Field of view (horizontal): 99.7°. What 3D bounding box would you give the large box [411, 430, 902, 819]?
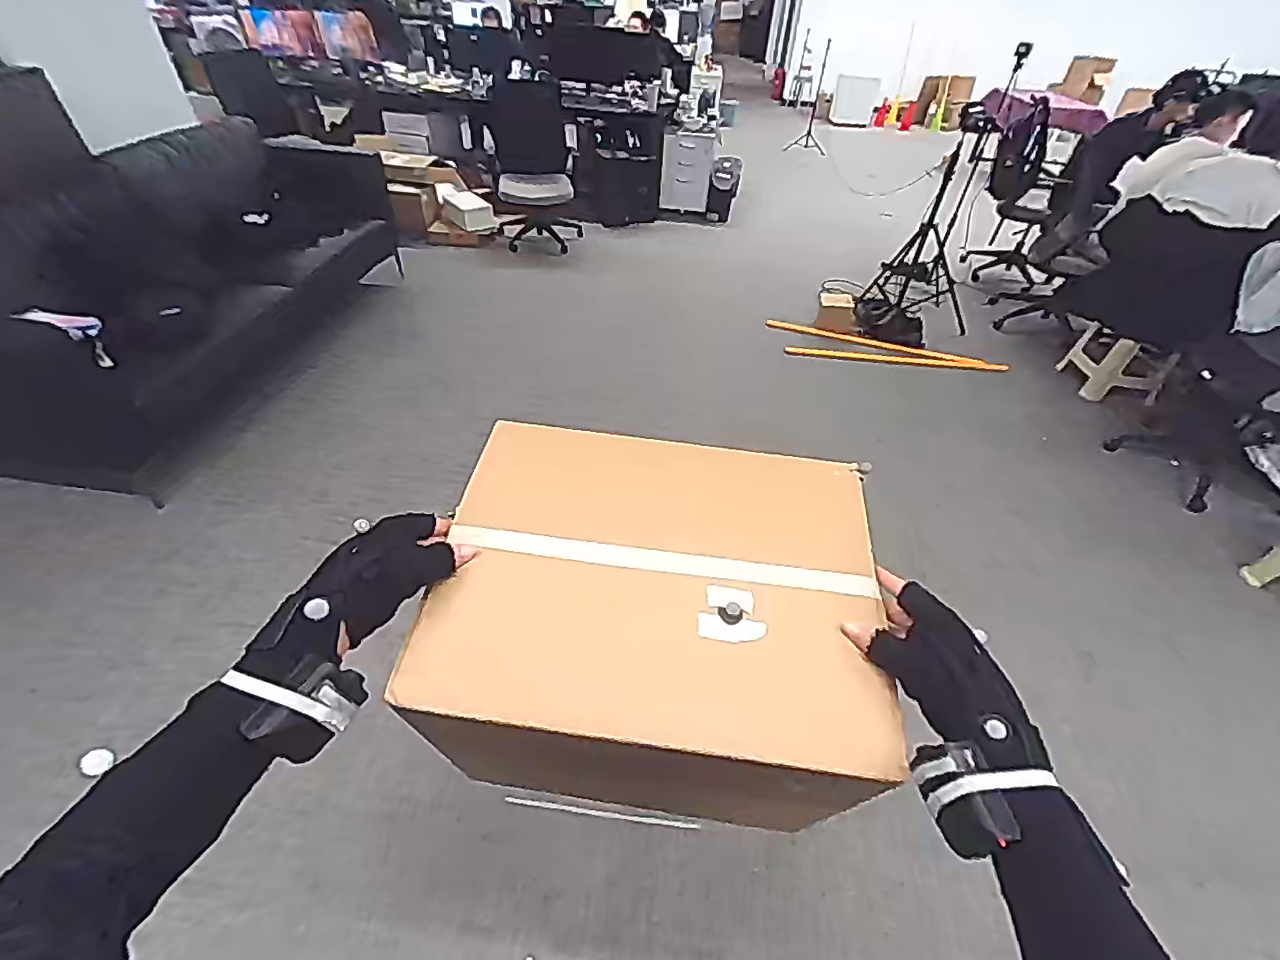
[{"bbox_3d":[0.016,0.175,0.635,0.408,0.320,0.320,8,52,2],"label":"large box"}]
